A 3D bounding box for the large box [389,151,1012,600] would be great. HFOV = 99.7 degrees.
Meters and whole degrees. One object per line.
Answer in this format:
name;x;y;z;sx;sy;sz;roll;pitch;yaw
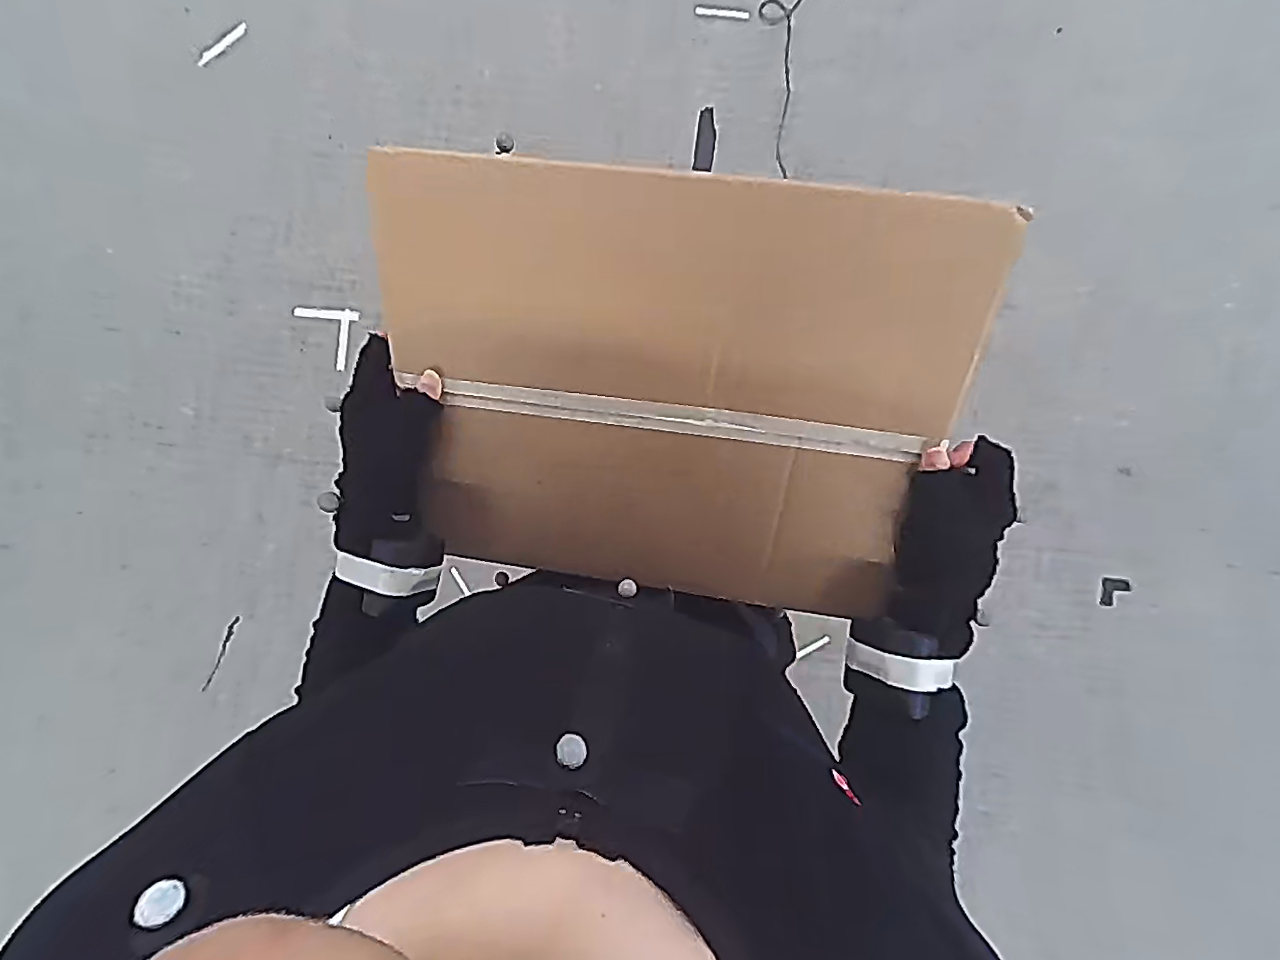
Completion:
large box;0.036;-0.123;0.539;0.408;0.320;0.320;8;119;5
